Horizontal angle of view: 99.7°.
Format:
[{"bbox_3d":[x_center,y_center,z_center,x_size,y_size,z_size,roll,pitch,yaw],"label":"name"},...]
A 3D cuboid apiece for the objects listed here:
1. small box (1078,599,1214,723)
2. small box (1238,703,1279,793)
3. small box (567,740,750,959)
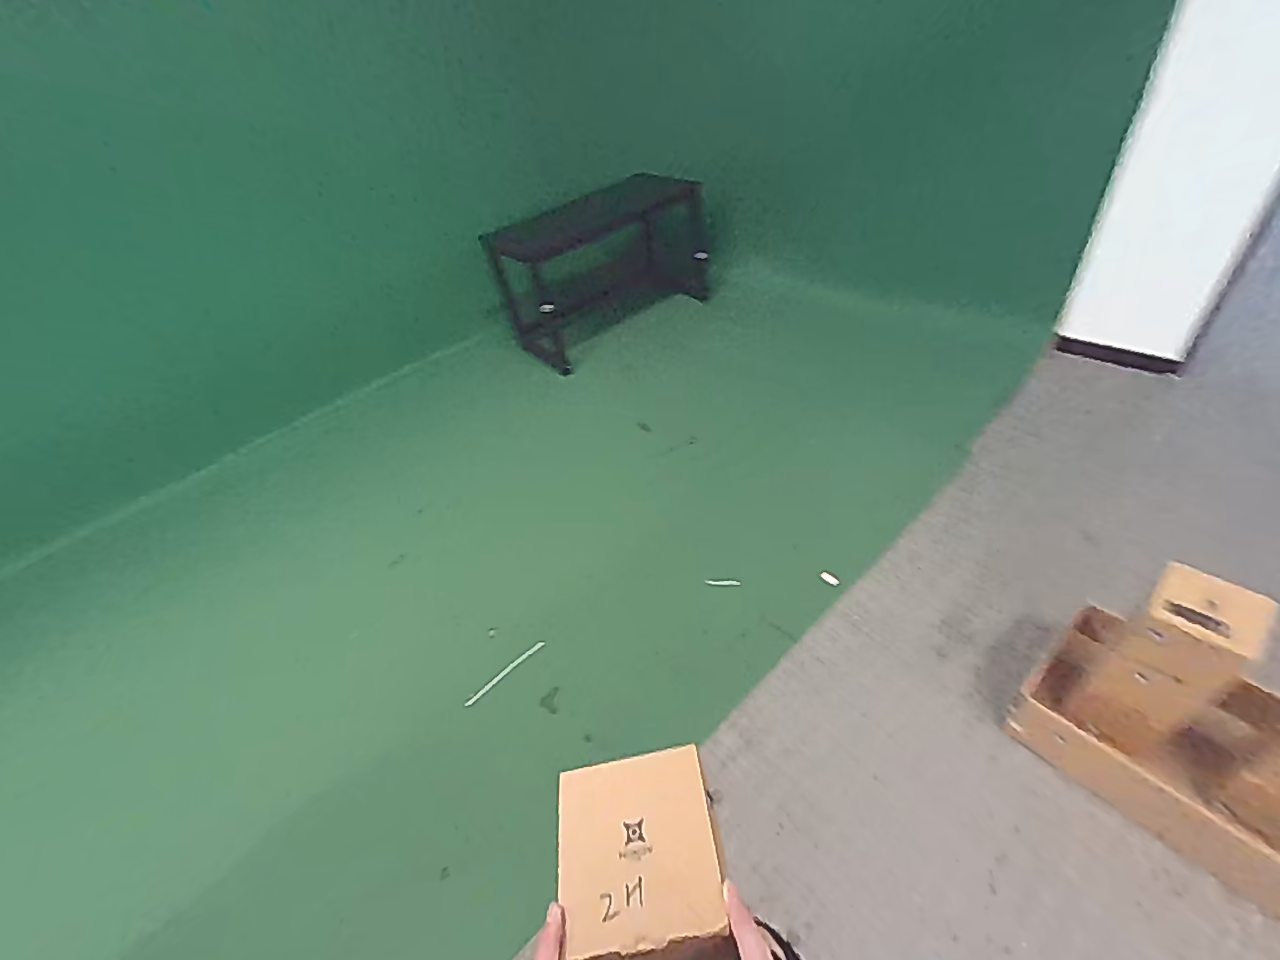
[{"bbox_3d":[1.169,0.422,1.262,0.179,0.176,0.168,-38,47,-26],"label":"small box"},{"bbox_3d":[1.372,0.546,1.080,0.179,0.176,0.168,-34,47,-20],"label":"small box"},{"bbox_3d":[0.021,0.431,0.613,0.168,0.176,0.179,-13,38,3],"label":"small box"}]
